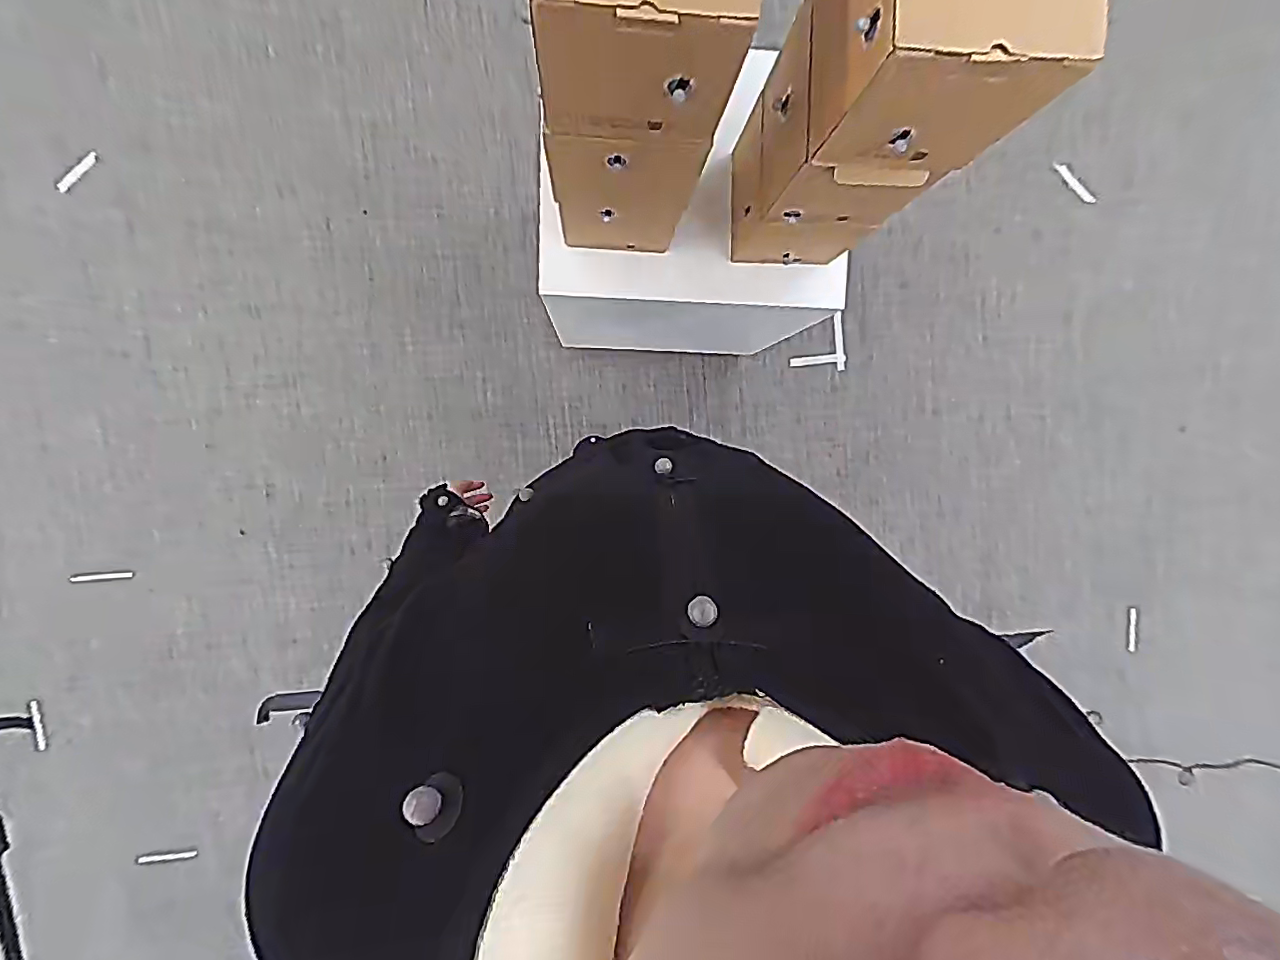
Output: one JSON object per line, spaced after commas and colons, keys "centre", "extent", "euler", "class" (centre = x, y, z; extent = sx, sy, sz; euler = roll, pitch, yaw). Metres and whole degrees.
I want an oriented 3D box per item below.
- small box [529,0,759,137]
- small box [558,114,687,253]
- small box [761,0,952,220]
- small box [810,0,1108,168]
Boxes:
{"centre": [0.001, -0.419, 0.449], "extent": [0.168, 0.176, 0.179], "euler": [1, 95, -6], "class": "small box"}
{"centre": [-0.027, -0.449, 0.774], "extent": [0.168, 0.176, 0.179], "euler": [2, 94, -4], "class": "small box"}
{"centre": [0.246, -0.423, 0.632], "extent": [0.168, 0.176, 0.179], "euler": [0, 95, -4], "class": "small box"}
{"centre": [0.259, -0.405, 0.471], "extent": [0.168, 0.176, 0.179], "euler": [0, 96, -4], "class": "small box"}
